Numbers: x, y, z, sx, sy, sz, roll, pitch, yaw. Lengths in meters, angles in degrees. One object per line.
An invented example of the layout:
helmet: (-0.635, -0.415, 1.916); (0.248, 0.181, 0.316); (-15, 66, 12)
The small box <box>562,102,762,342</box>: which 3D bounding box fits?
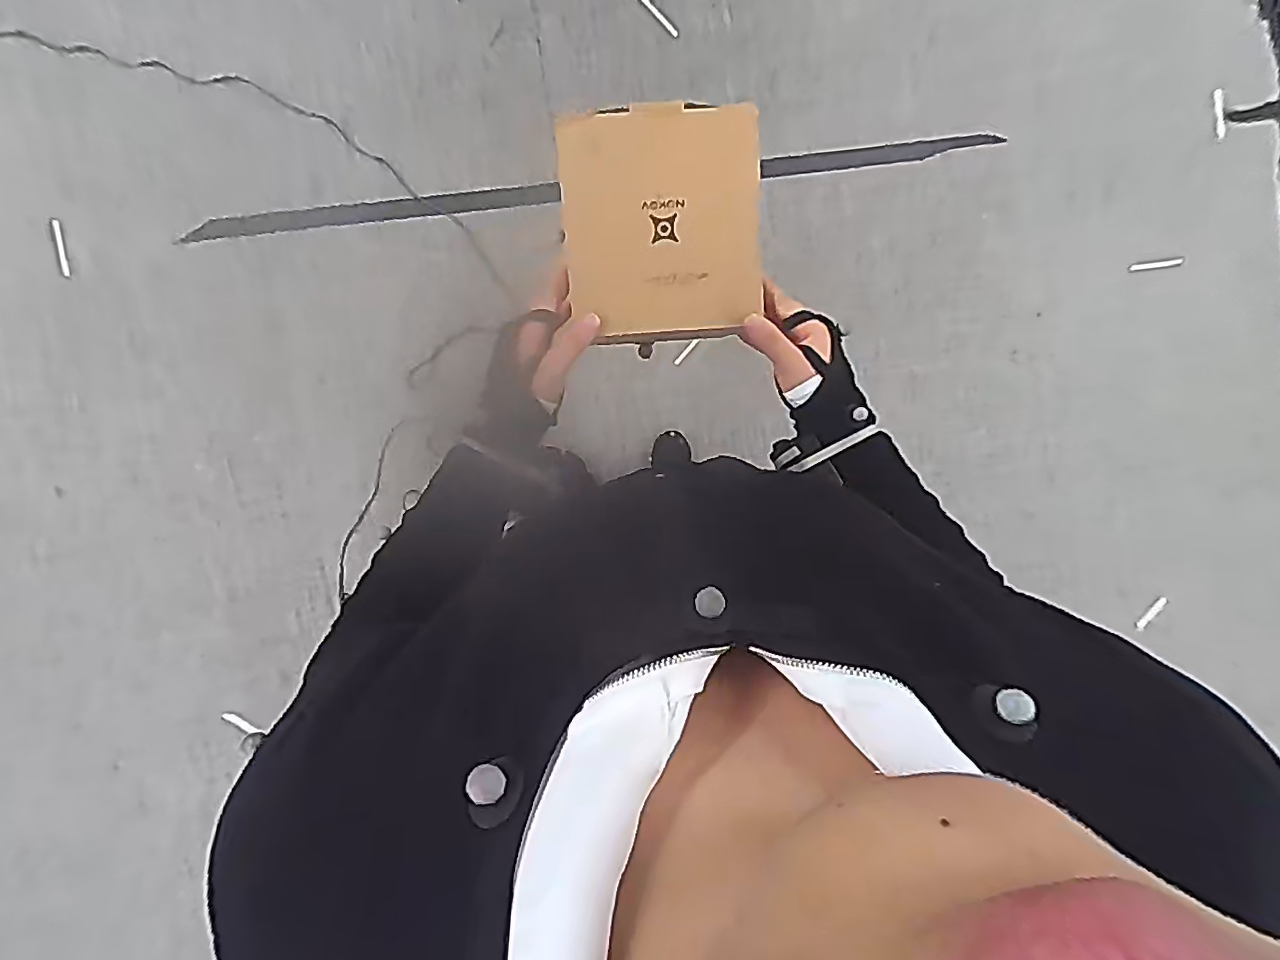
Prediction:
small box: (0.016, -0.234, 0.531); (0.168, 0.176, 0.179); (-4, 102, -2)
